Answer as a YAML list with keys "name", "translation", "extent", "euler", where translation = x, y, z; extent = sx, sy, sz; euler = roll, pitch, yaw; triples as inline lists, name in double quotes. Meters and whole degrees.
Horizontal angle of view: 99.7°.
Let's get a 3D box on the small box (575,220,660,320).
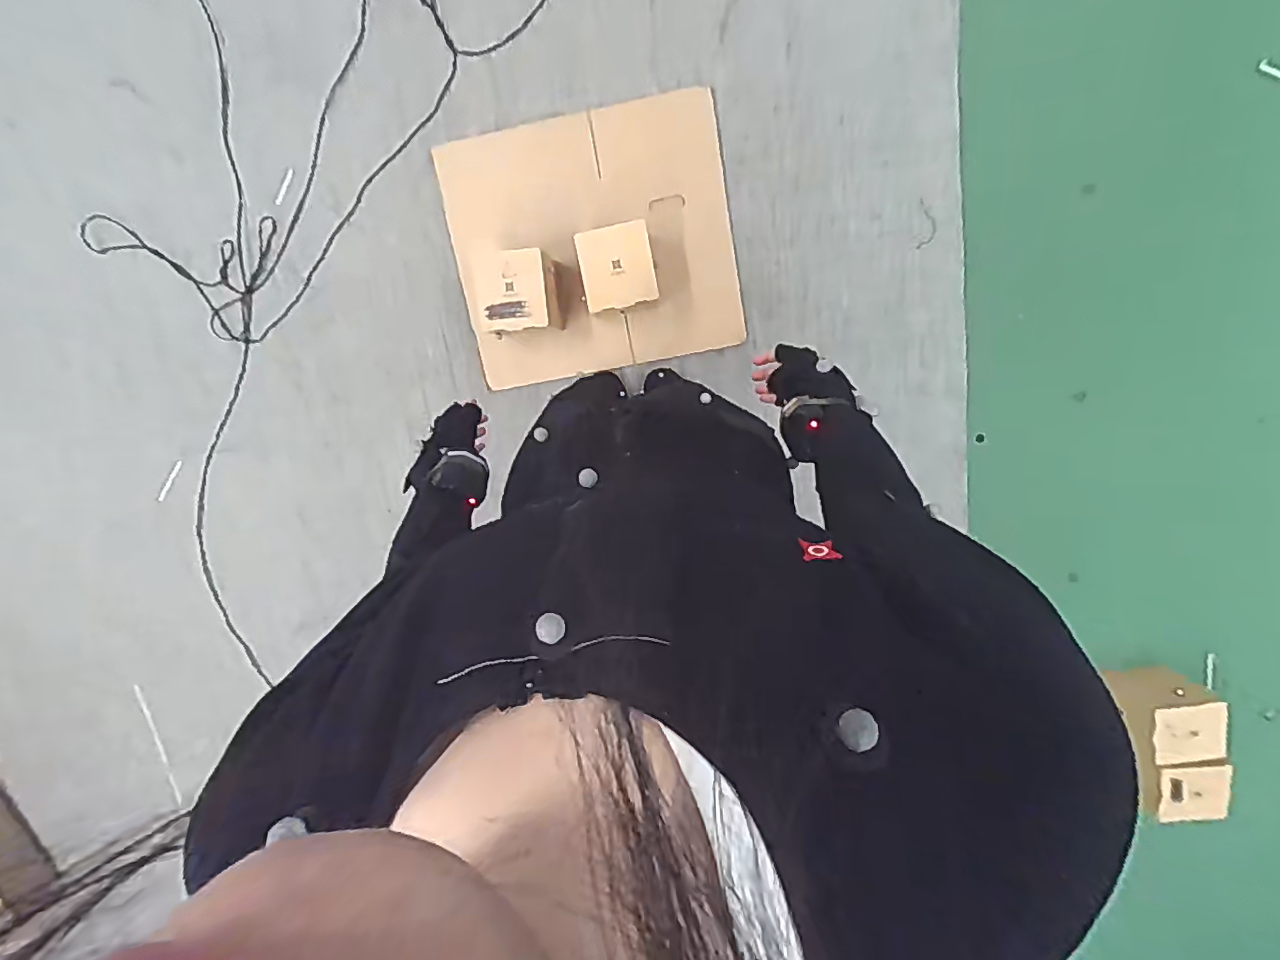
- name: "small box"
  translation: [-0.050, -0.493, 1.293]
  extent: [0.168, 0.176, 0.179]
  euler: [-12, 102, 4]
